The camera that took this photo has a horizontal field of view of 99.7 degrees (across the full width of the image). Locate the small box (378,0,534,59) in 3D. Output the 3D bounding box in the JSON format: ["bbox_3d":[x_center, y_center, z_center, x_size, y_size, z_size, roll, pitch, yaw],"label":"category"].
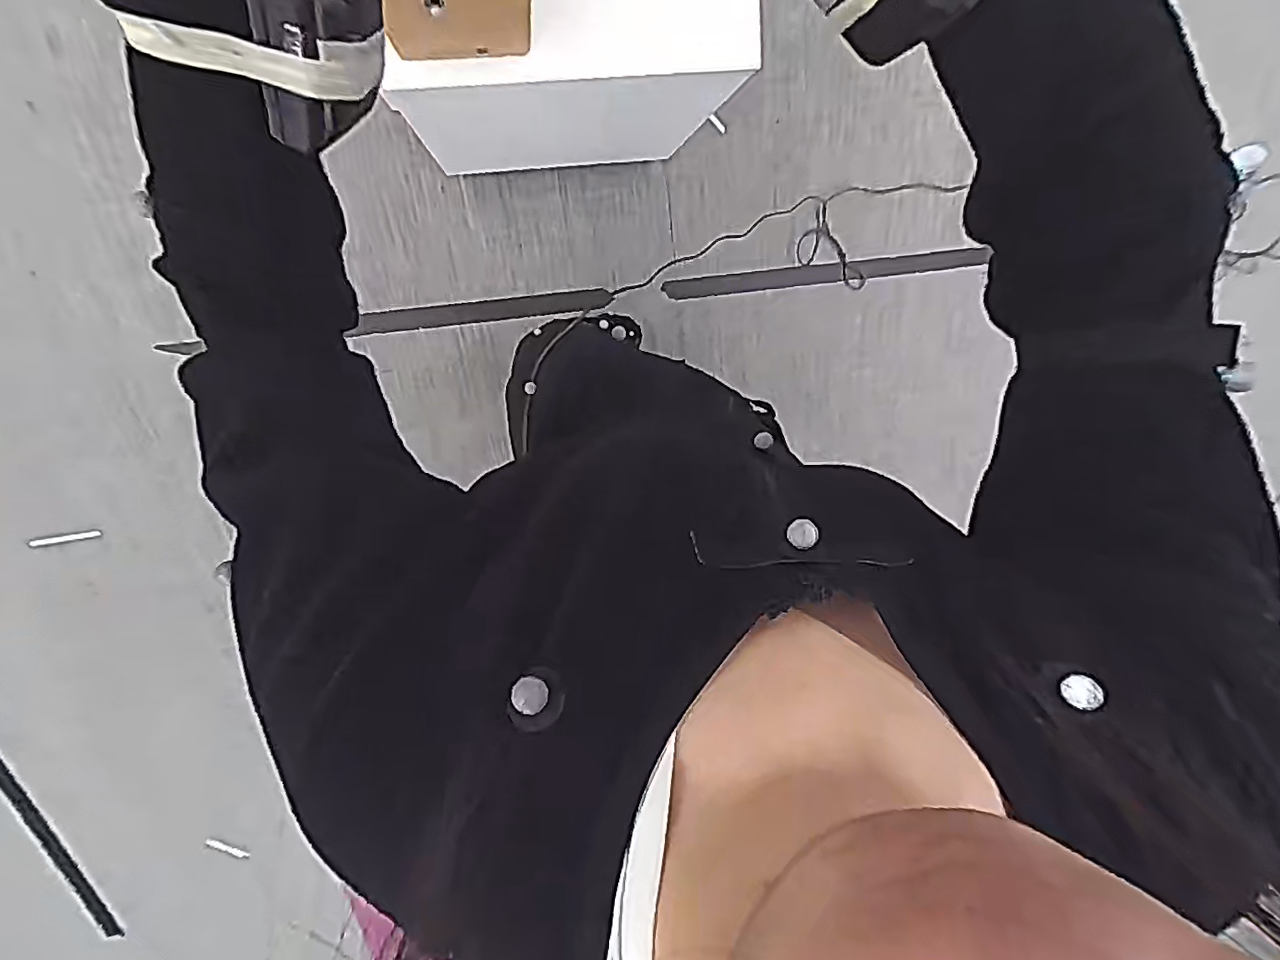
[{"bbox_3d":[-0.209,-0.591,0.578,0.168,0.176,0.179,-9,109,-8],"label":"small box"}]
